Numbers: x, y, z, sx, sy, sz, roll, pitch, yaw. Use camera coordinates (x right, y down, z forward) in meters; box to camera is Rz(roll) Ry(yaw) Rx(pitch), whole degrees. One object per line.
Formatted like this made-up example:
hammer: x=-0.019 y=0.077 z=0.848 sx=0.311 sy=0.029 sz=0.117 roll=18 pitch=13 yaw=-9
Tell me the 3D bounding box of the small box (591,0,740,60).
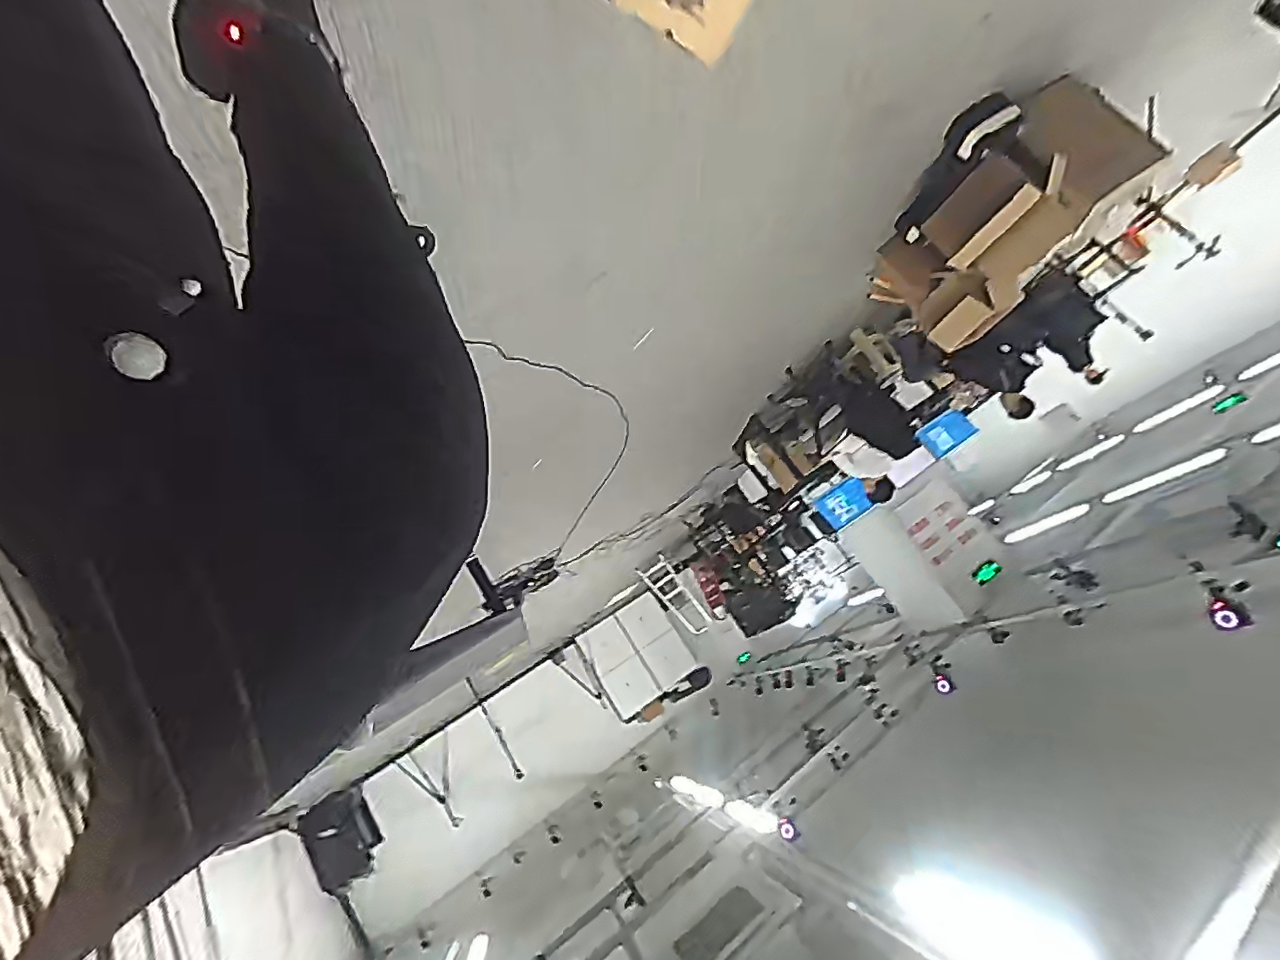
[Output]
small box: x=0.016 y=-0.555 z=0.503 sx=0.168 sy=0.176 sz=0.179 roll=-20 pitch=159 yaw=-44
